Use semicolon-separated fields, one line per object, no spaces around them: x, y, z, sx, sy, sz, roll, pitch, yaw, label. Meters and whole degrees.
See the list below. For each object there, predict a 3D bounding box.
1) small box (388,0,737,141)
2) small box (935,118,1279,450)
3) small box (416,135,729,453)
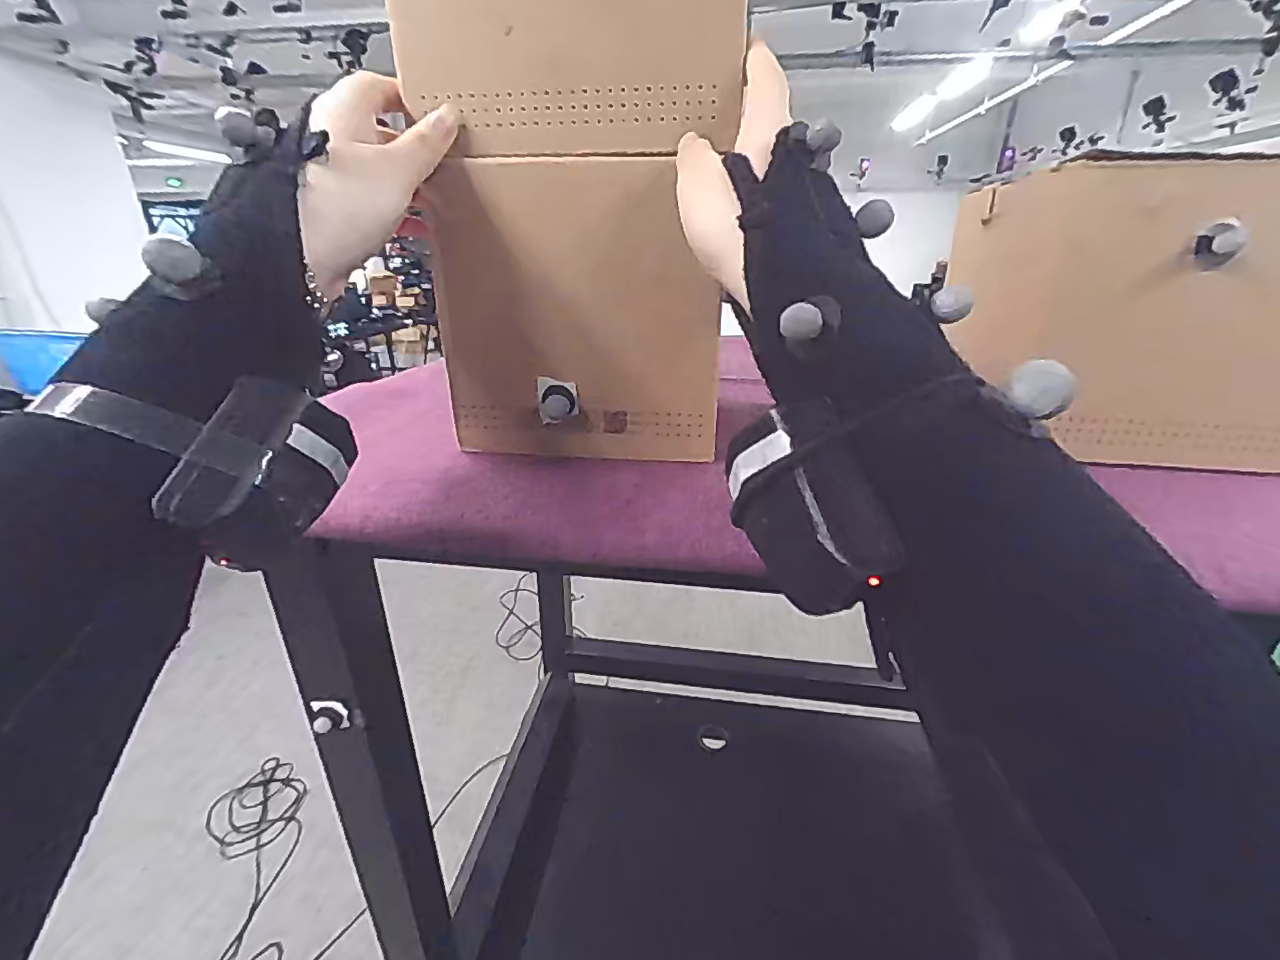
-0.035;-0.280;0.316;0.179;0.176;0.168;1;24;4;small box
0.321;-0.124;0.365;0.179;0.176;0.168;4;22;8;small box
-0.029;-0.128;0.379;0.168;0.176;0.179;1;24;5;small box
